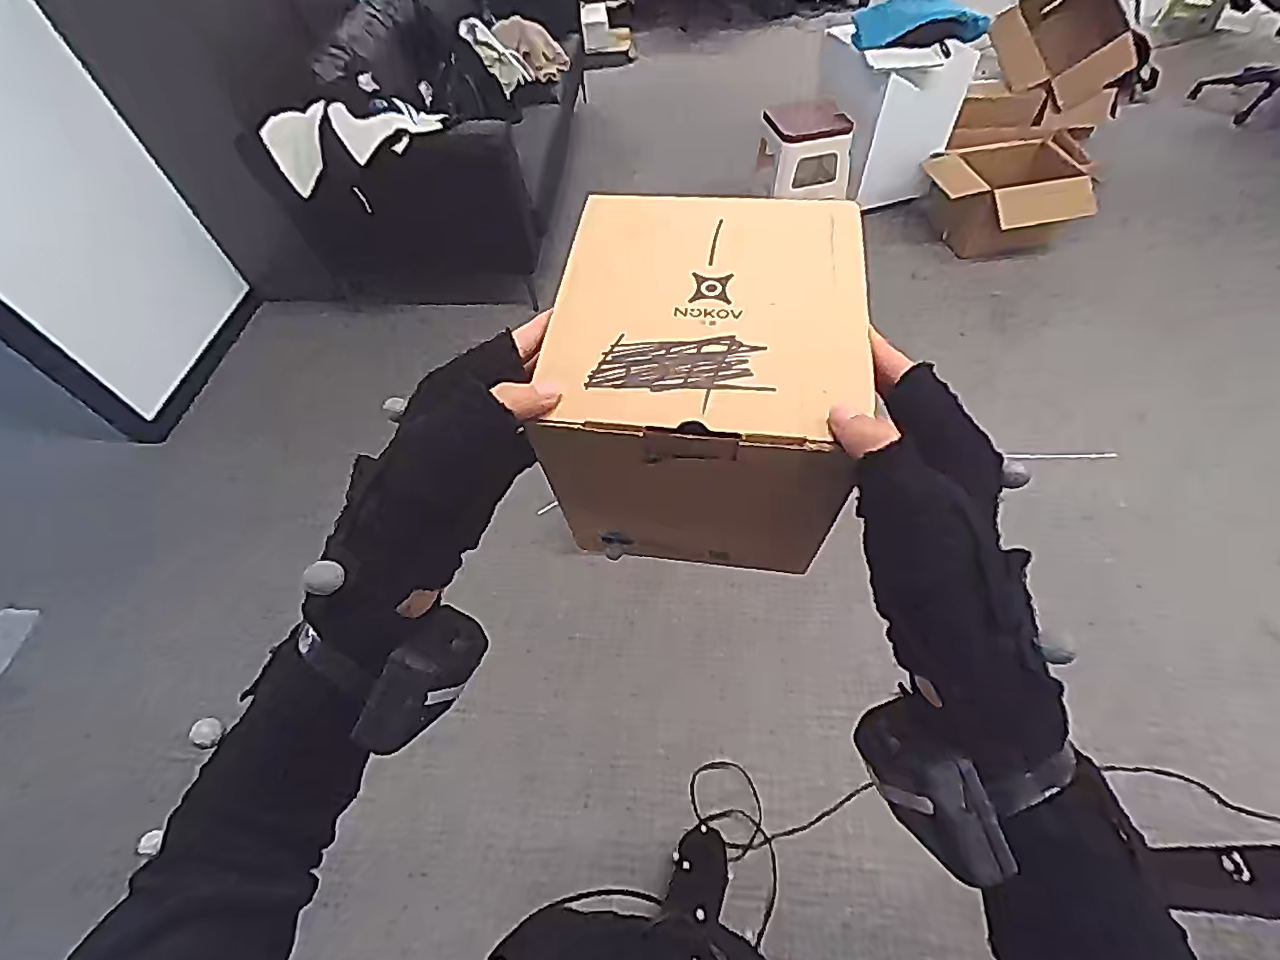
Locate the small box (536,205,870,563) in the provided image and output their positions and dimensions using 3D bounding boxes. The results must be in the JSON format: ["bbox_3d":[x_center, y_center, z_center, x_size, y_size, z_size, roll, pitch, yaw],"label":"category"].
[{"bbox_3d":[0.046,-0.057,0.368,0.168,0.176,0.179,5,60,8],"label":"small box"}]

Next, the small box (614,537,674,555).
[{"bbox_3d":[0.012,0.113,1.607,0.179,0.176,0.168,1,54,5],"label":"small box"}]
